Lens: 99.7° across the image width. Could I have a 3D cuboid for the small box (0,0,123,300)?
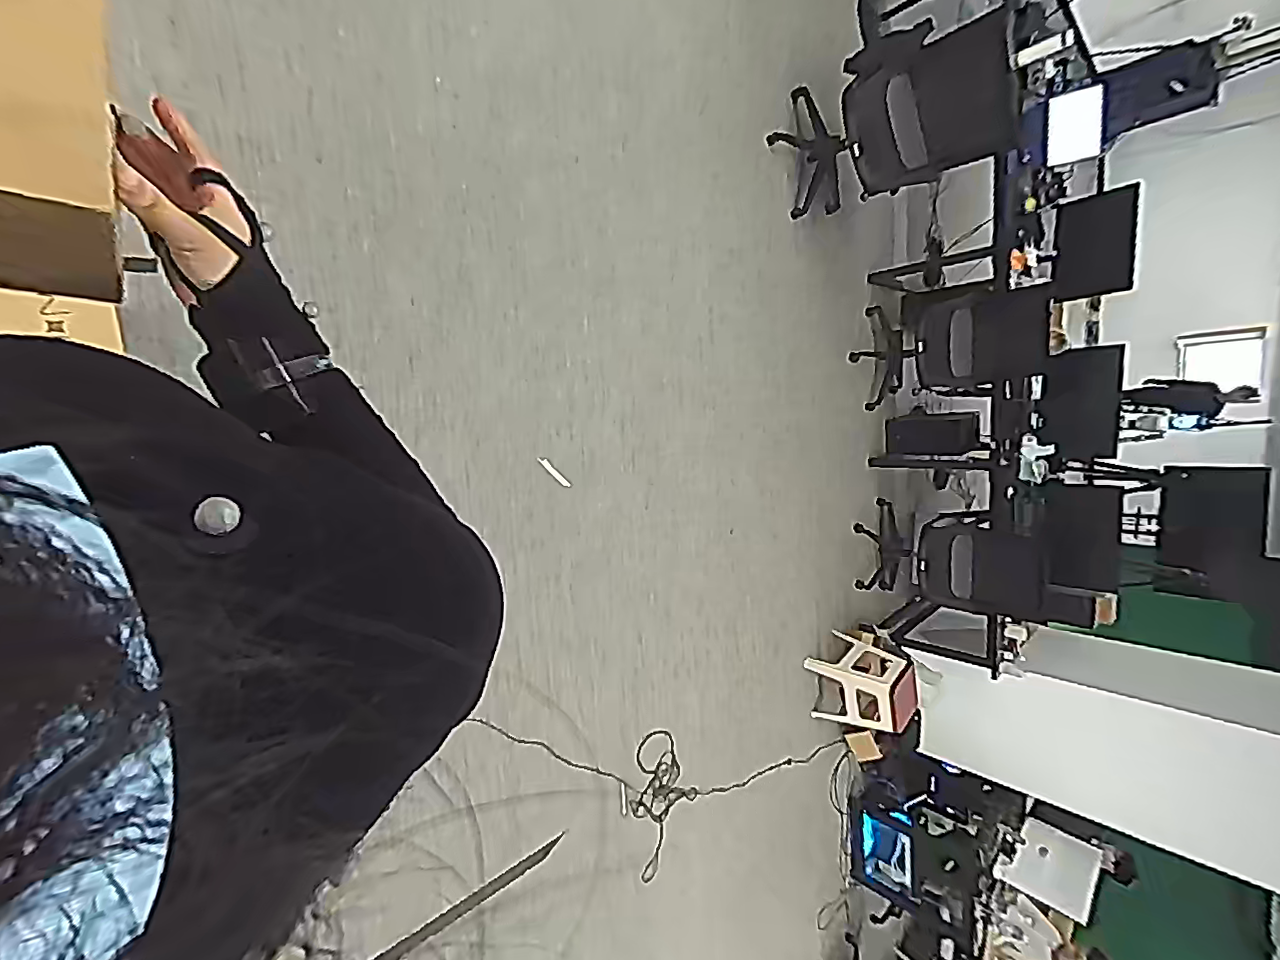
[{"bbox_3d":[-0.408,-0.221,0.304,0.168,0.176,0.179,-2,87,-44],"label":"small box"}]
